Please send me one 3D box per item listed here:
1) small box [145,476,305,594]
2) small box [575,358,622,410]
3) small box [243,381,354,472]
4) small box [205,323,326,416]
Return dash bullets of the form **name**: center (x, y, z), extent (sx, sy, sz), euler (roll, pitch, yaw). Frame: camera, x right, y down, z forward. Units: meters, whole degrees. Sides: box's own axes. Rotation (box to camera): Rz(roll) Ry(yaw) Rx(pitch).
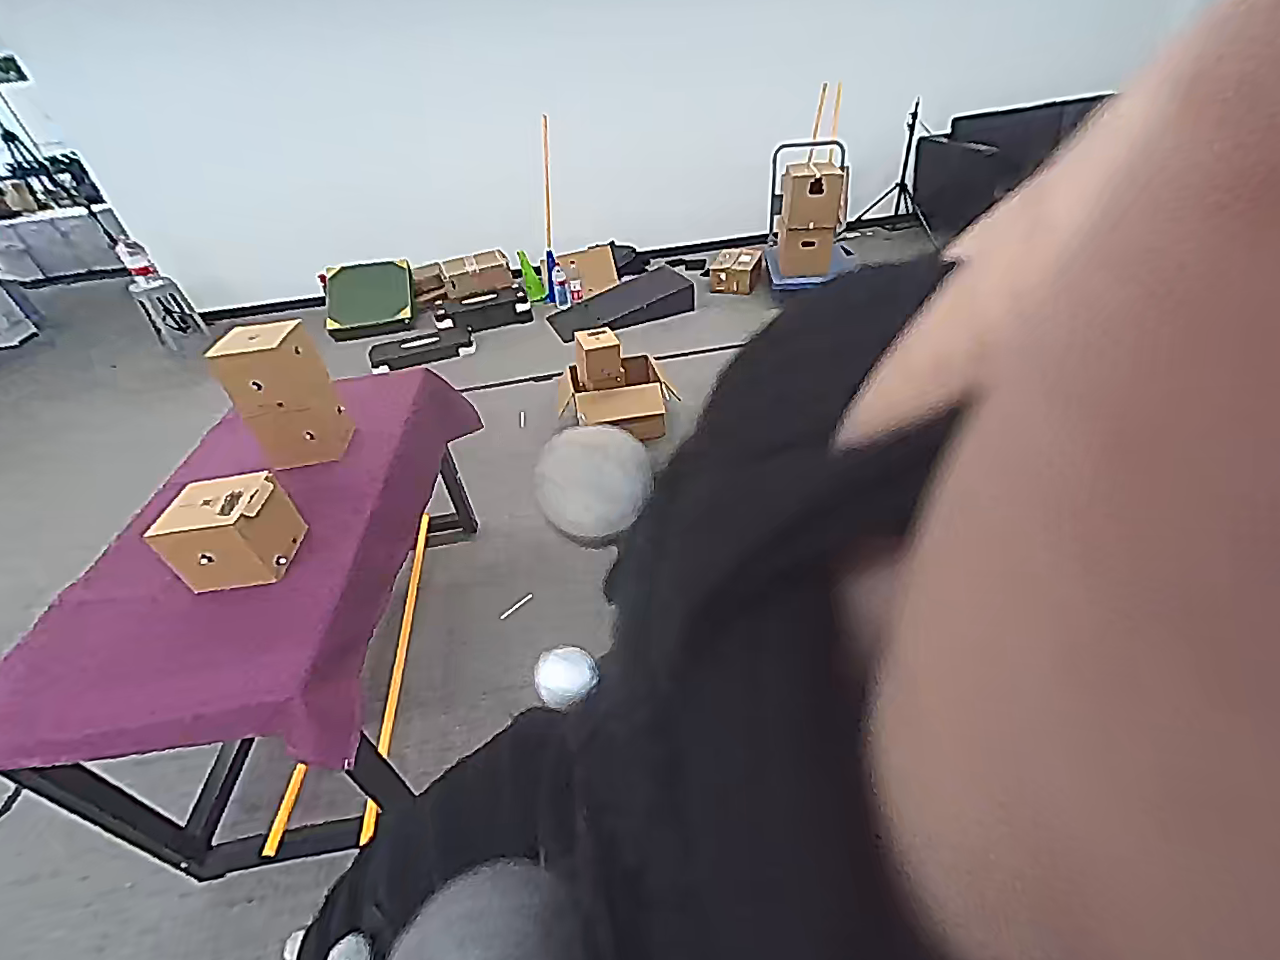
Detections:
- **small box**: center (-0.845, 0.116, 1.127), extent (0.179, 0.176, 0.168), euler (-8, 39, -1)
- **small box**: center (-0.195, -0.462, 2.615), extent (0.179, 0.176, 0.168), euler (-22, 45, -22)
- **small box**: center (-0.906, -0.143, 1.456), extent (0.179, 0.176, 0.168), euler (-10, 39, -4)
- **small box**: center (-0.921, -0.271, 1.354), extent (0.168, 0.176, 0.179), euler (-9, 38, -4)
